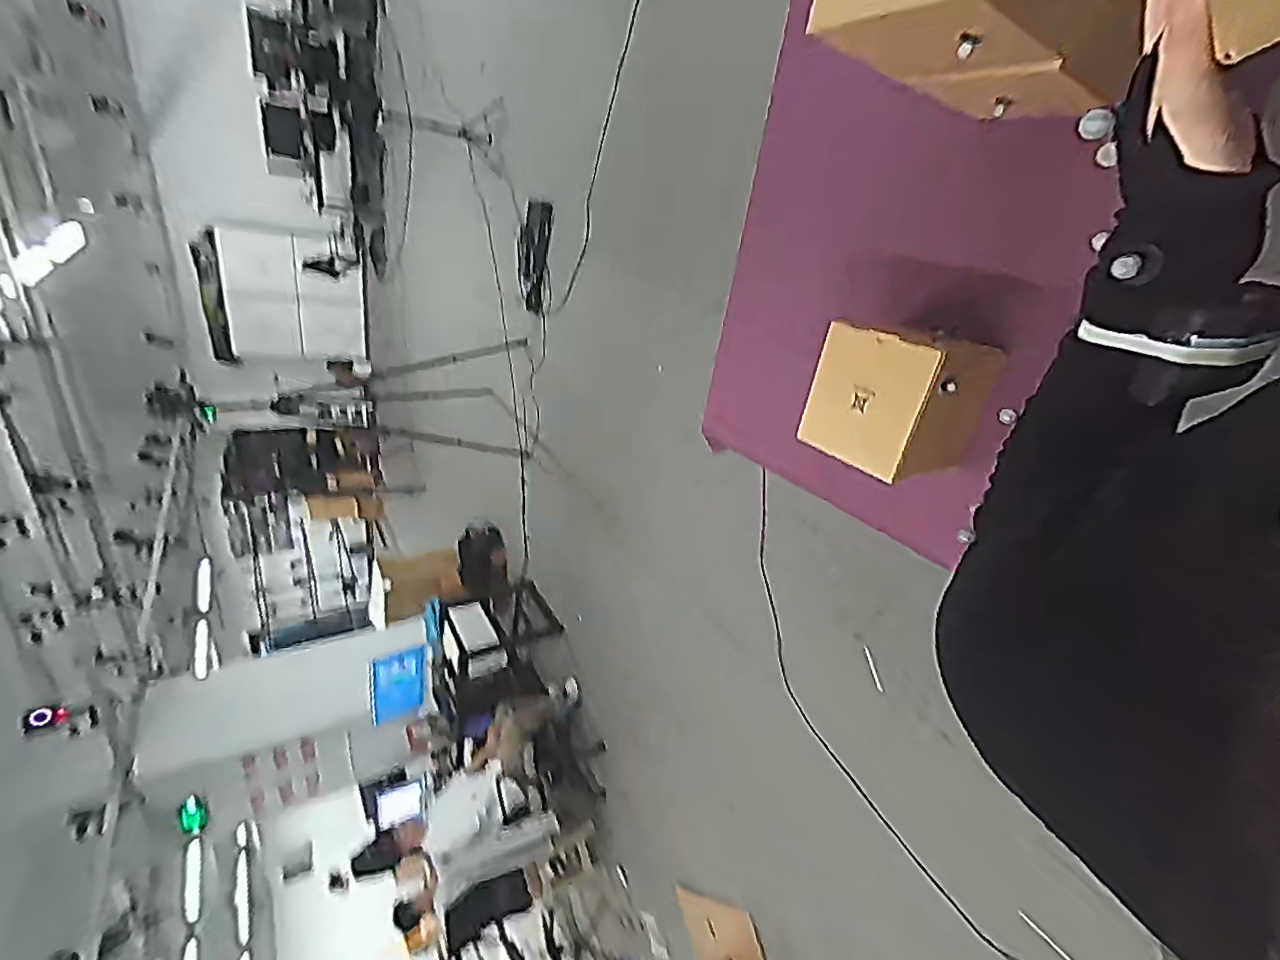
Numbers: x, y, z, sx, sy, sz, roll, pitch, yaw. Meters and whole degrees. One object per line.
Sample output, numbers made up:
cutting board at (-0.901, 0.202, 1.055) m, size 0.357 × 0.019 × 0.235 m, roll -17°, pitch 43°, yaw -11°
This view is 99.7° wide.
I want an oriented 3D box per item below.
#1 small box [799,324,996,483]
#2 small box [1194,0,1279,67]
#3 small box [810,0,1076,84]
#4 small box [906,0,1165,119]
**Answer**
small box at (0.364, -0.114, 0.770) m, size 0.168 × 0.176 × 0.179 m, roll 38°, pitch 125°, yaw 46°
small box at (0.309, -0.292, 0.189) m, size 0.168 × 0.176 × 0.179 m, roll -8°, pitch 116°, yaw 46°
small box at (0.296, -0.491, 0.496) m, size 0.179 × 0.176 × 0.168 m, roll 38°, pitch 126°, yaw 47°
small box at (0.434, -0.506, 0.583) m, size 0.168 × 0.176 × 0.179 m, roll 39°, pitch 128°, yaw 45°
